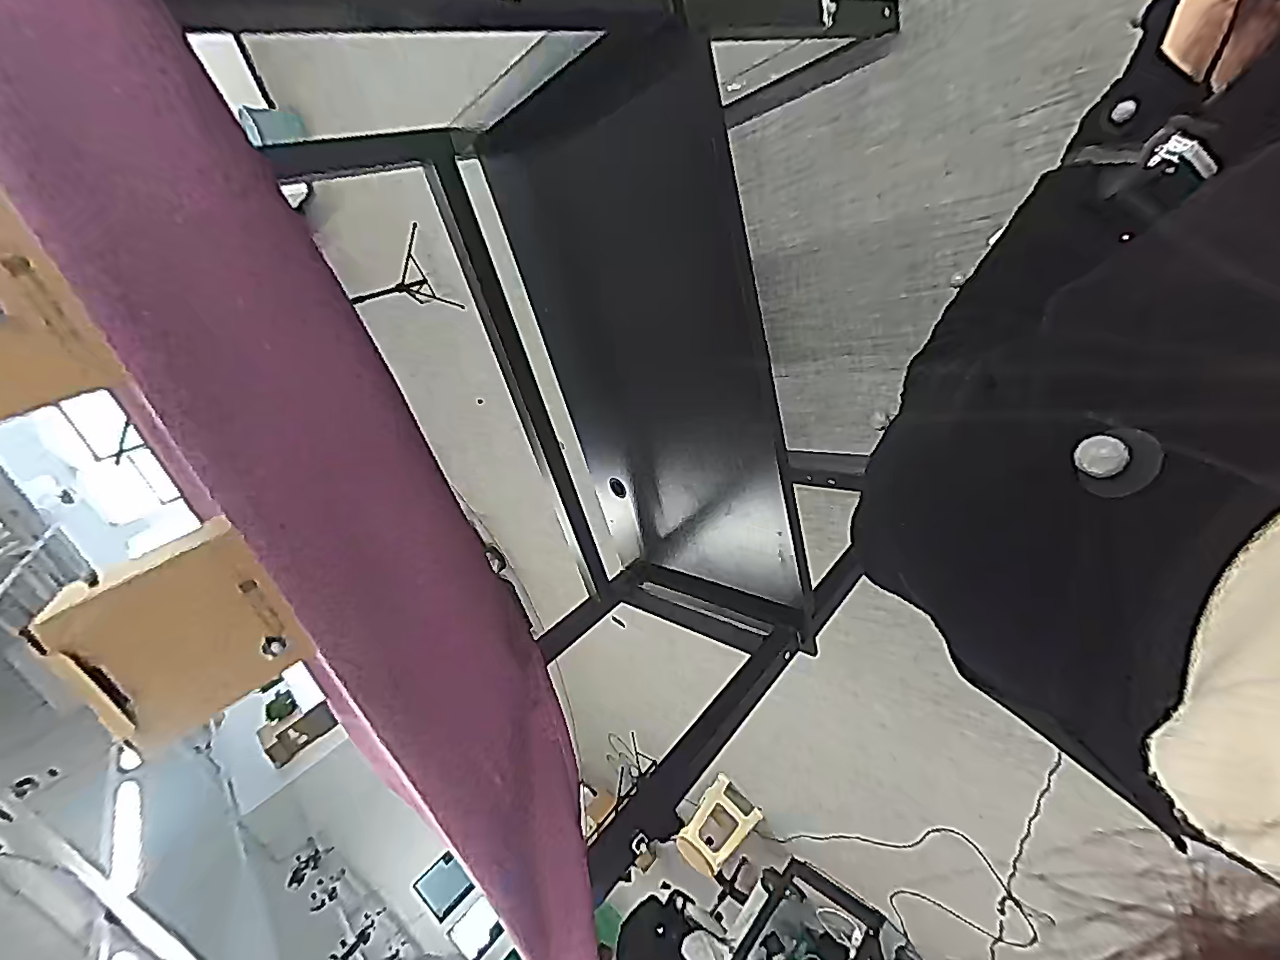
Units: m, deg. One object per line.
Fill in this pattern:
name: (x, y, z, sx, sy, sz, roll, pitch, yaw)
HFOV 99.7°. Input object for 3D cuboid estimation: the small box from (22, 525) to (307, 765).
small box: (-0.506, 0.164, 0.603, 0.179, 0.176, 0.168, 4, 121, 50)

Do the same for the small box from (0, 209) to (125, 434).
small box: (-0.589, -0.123, 0.459, 0.179, 0.176, 0.168, 14, 129, 45)
